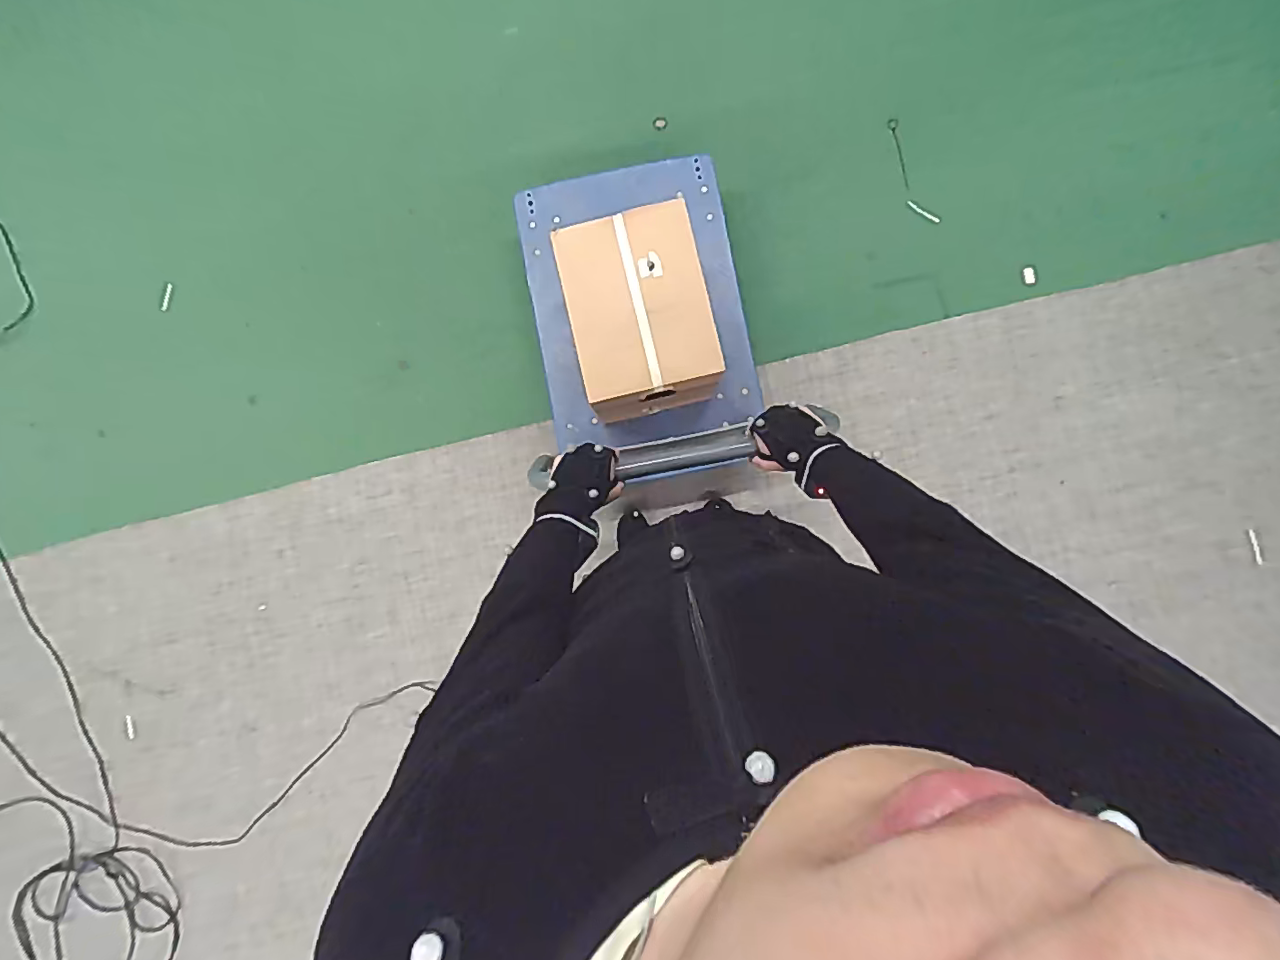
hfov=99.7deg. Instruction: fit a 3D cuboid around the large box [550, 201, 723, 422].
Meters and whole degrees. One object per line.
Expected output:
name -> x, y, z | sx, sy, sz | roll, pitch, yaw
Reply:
large box -> -0.003, -0.393, 1.356 | 0.320, 0.320, 0.408 | -13, 87, 1
